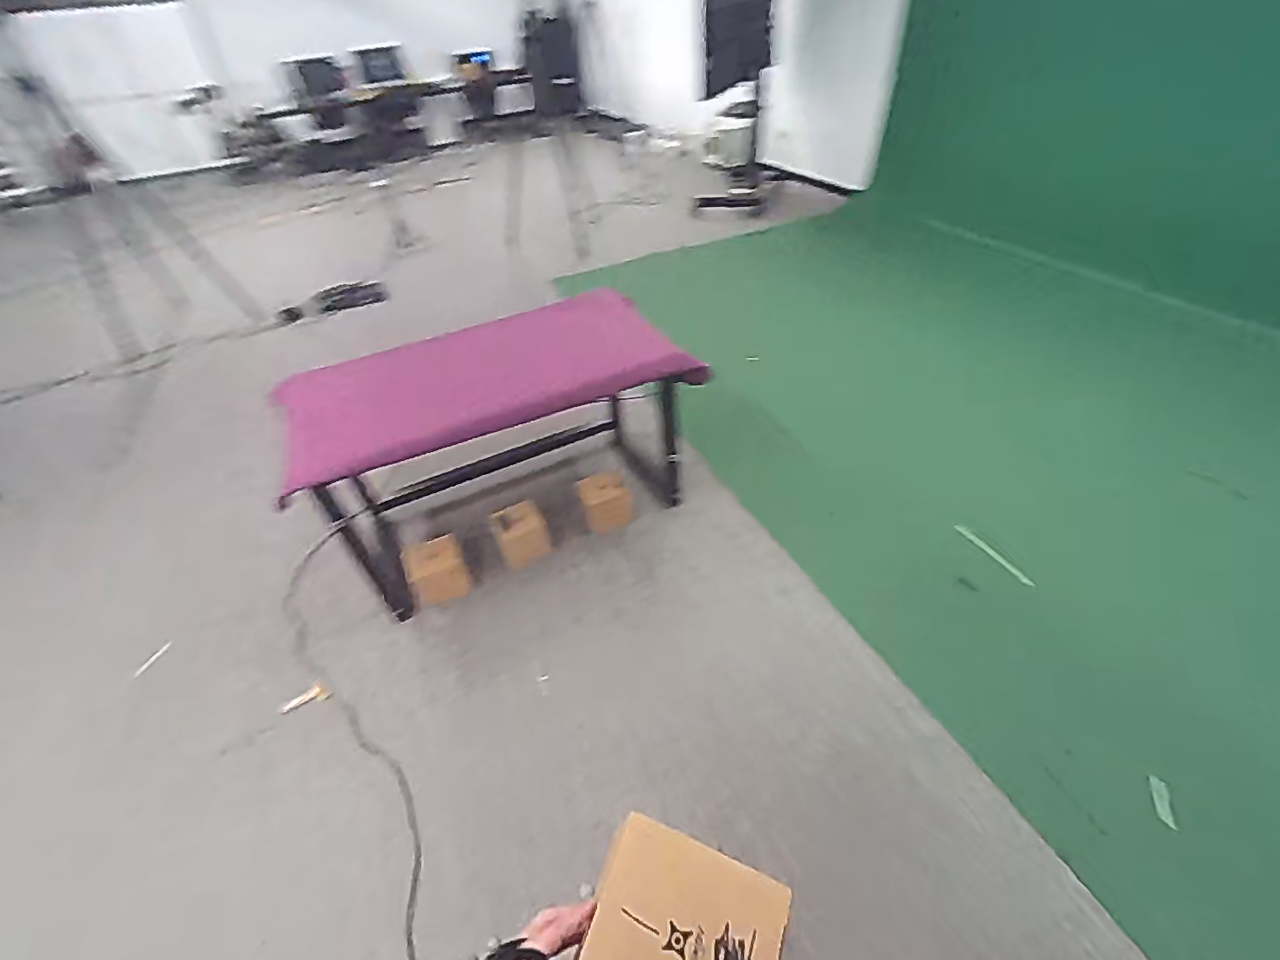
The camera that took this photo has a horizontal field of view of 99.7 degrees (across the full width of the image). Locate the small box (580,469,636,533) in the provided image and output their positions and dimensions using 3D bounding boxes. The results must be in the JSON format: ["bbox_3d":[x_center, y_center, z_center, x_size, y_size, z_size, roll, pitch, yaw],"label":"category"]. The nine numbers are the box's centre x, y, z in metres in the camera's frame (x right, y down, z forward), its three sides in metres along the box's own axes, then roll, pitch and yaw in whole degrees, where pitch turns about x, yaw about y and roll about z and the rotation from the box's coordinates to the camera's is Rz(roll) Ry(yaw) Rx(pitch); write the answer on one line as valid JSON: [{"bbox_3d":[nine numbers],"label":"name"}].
[{"bbox_3d":[-0.128,0.089,2.205,0.179,0.176,0.168,-19,44,-14],"label":"small box"}]

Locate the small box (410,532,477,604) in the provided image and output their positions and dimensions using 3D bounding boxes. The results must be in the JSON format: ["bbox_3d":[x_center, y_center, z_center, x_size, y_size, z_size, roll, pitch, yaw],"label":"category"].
[{"bbox_3d":[-0.730,0.332,2.012,0.179,0.176,0.168,-21,45,-16],"label":"small box"}]
